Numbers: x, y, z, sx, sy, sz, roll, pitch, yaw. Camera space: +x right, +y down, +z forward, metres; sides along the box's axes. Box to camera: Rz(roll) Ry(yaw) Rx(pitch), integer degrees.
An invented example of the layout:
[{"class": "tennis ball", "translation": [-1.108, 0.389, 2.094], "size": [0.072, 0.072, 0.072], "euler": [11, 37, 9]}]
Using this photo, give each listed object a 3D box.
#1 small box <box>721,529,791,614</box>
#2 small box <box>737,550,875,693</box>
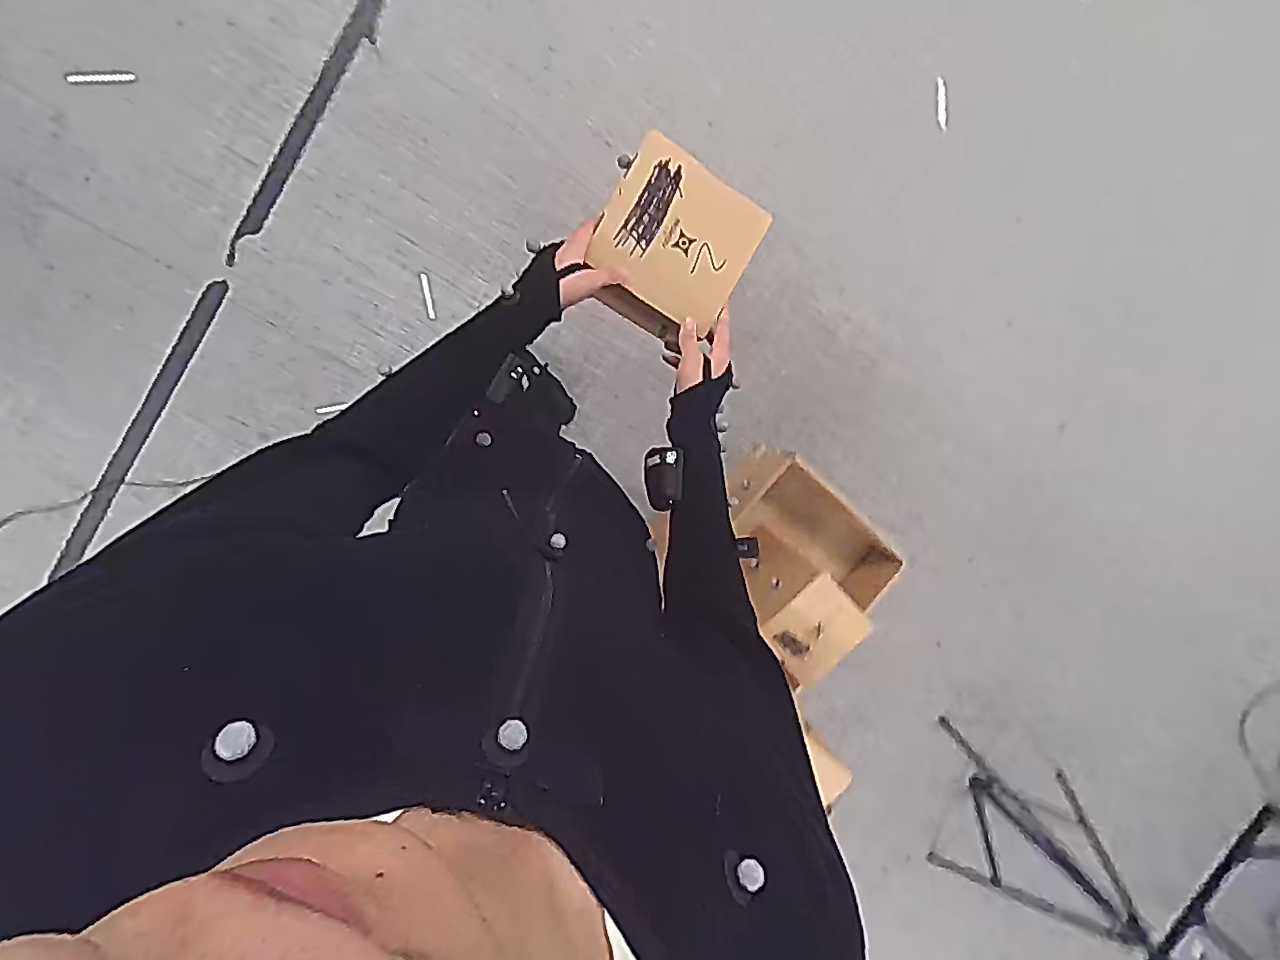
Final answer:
[{"class": "small box", "translation": [0.302, 0.242, 1.223], "size": [0.168, 0.176, 0.179], "euler": [41, 94, -13]}, {"class": "small box", "translation": [0.310, 0.268, 1.060], "size": [0.179, 0.176, 0.168], "euler": [-43, 104, 2]}]
